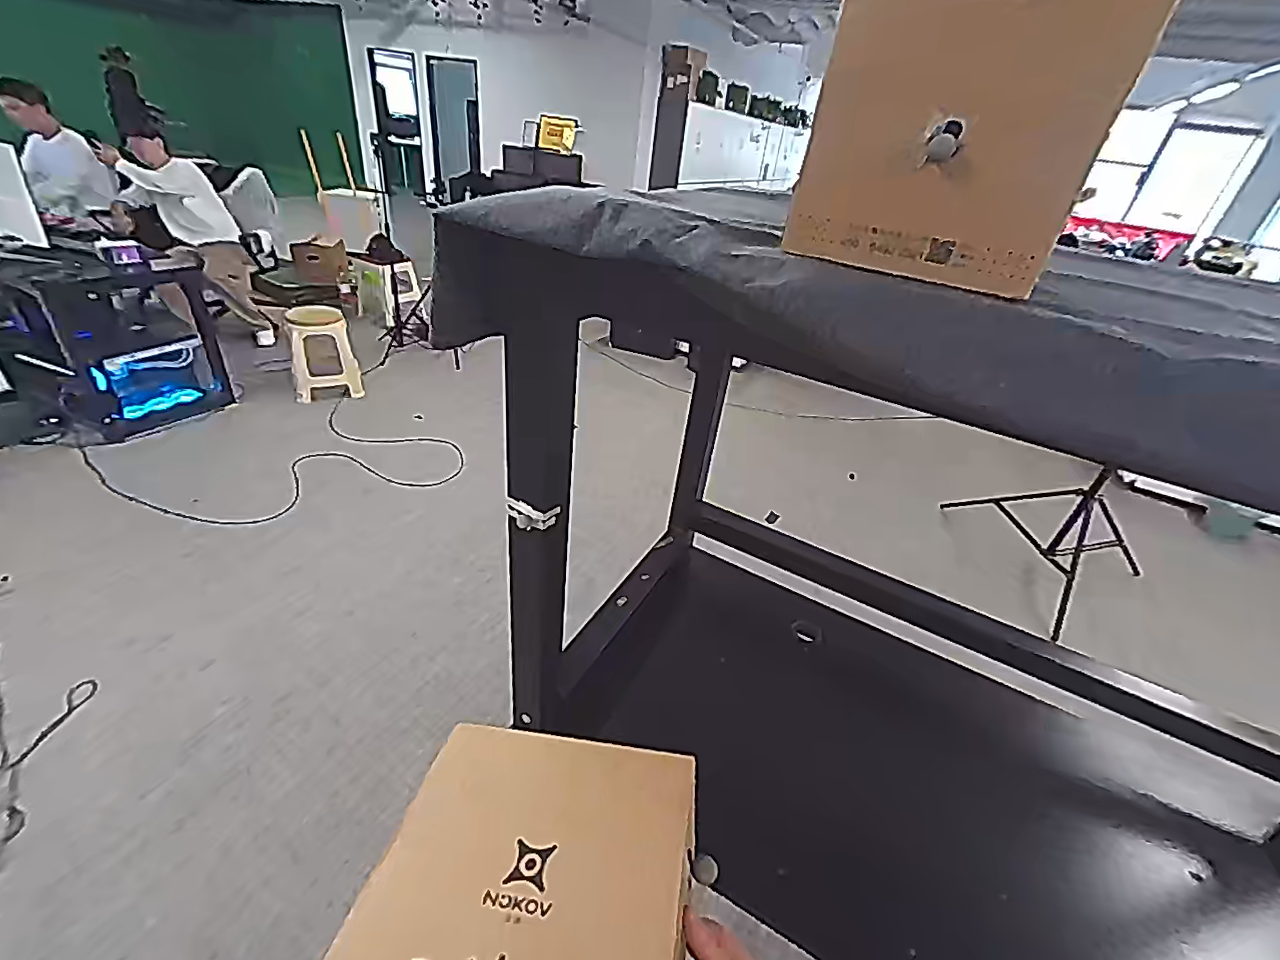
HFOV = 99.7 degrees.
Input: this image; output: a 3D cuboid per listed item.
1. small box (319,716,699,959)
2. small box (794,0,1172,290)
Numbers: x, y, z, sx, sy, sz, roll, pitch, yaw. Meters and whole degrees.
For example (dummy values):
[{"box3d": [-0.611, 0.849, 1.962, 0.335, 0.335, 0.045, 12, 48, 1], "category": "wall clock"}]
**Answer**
[{"box3d": [-0.057, 0.276, 0.318, 0.168, 0.176, 0.179, 3, 29, 10], "category": "small box"}, {"box3d": [0.223, -0.247, 0.392, 0.168, 0.176, 0.179, 20, 34, 16], "category": "small box"}]
